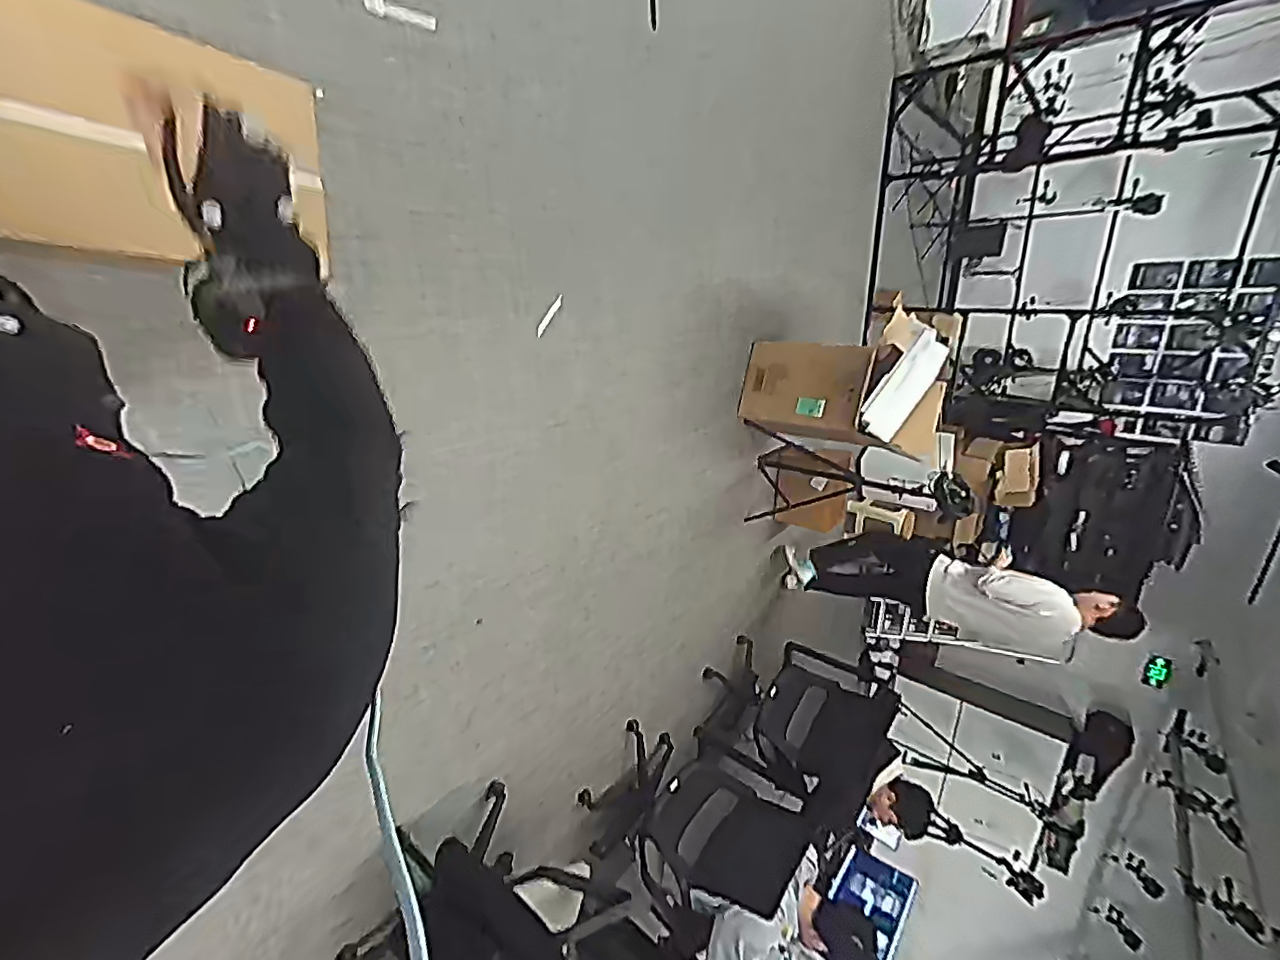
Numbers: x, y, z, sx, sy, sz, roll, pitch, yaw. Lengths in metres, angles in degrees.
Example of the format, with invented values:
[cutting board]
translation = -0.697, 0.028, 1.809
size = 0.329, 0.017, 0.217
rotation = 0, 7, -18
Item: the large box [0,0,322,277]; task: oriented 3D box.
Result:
[large box]
translation = -0.814, -0.523, 0.887
size = 0.408, 0.320, 0.320
rotation = -14, 113, -50
